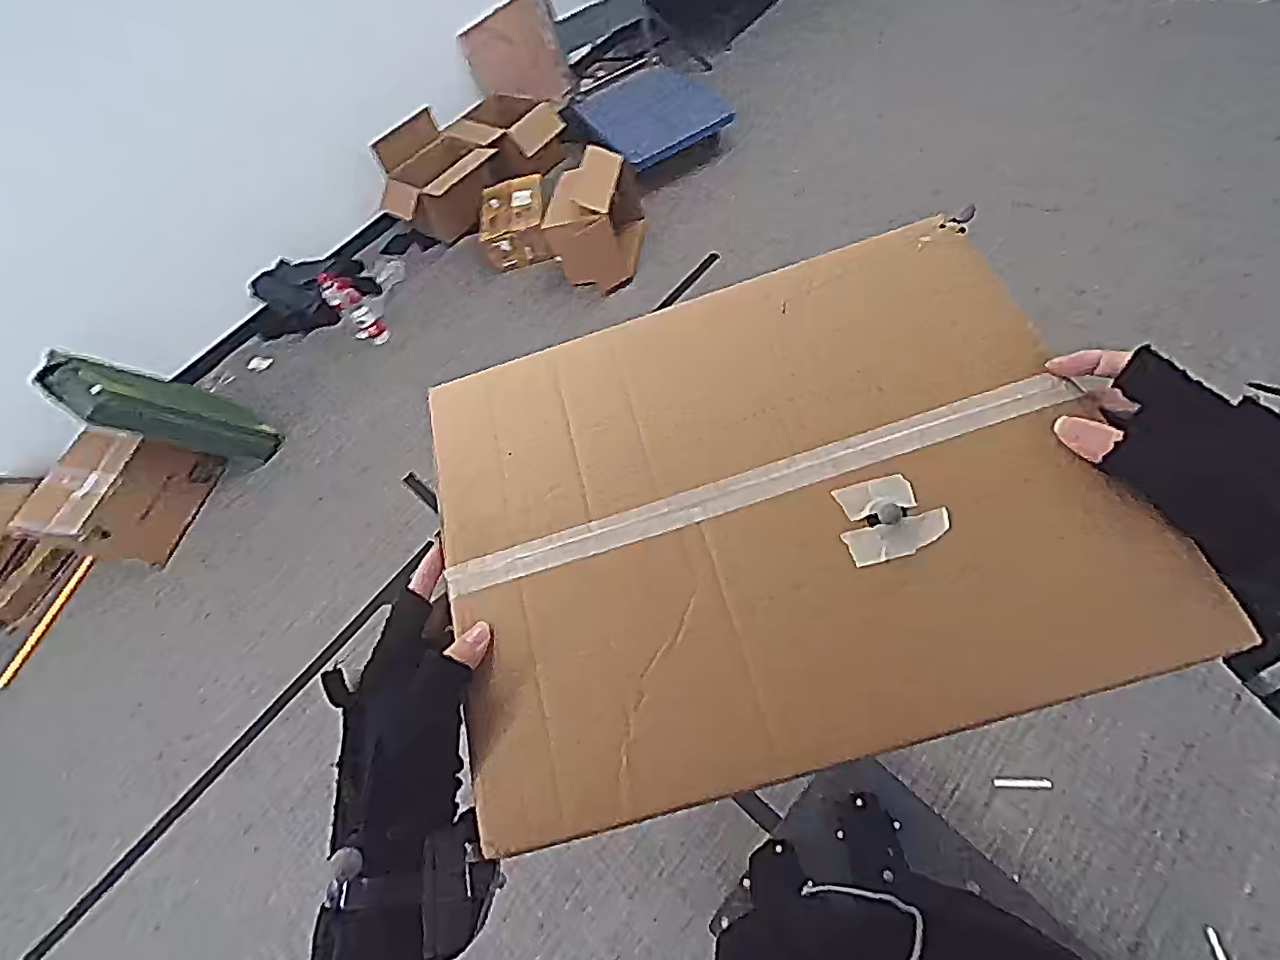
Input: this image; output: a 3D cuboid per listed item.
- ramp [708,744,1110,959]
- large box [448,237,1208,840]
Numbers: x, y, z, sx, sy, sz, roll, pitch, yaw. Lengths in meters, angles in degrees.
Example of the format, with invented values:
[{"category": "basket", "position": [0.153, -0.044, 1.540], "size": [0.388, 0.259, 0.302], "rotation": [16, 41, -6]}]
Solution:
[{"category": "ramp", "position": [0.662, 1.028, 1.004], "size": [0.991, 0.206, 0.509], "rotation": [34, 72, 29]}, {"category": "large box", "position": [0.098, 0.066, 0.489], "size": [0.408, 0.320, 0.320], "rotation": [-18, 66, 3]}]
